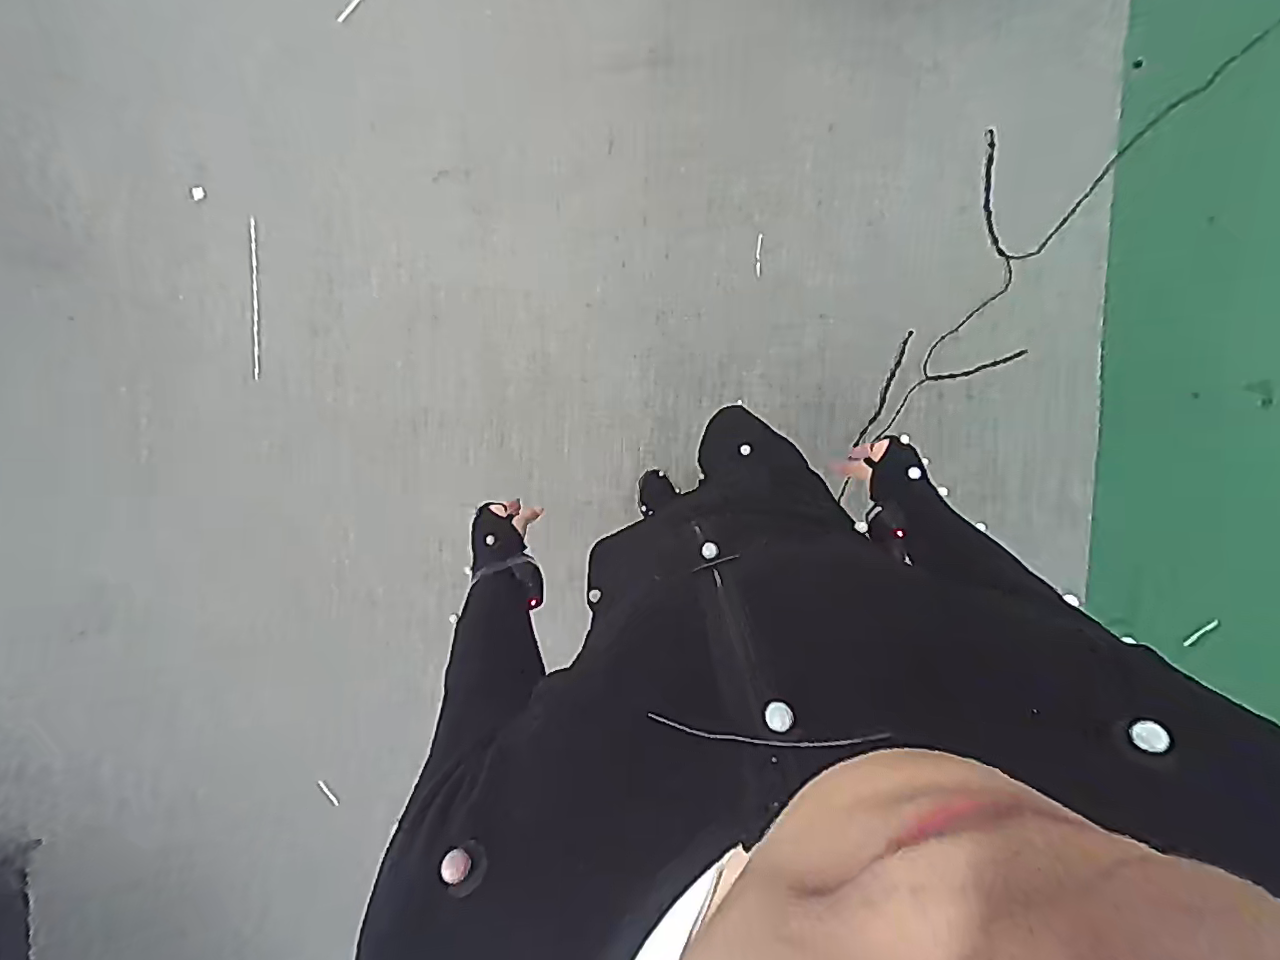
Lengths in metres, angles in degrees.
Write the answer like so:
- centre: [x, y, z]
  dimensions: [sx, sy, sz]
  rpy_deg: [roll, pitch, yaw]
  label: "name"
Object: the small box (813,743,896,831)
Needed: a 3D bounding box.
- centre: [0.609, 0.875, 1.548]
  dimensions: [0.179, 0.176, 0.168]
  rpy_deg: [1, 92, 4]
  label: "small box"
